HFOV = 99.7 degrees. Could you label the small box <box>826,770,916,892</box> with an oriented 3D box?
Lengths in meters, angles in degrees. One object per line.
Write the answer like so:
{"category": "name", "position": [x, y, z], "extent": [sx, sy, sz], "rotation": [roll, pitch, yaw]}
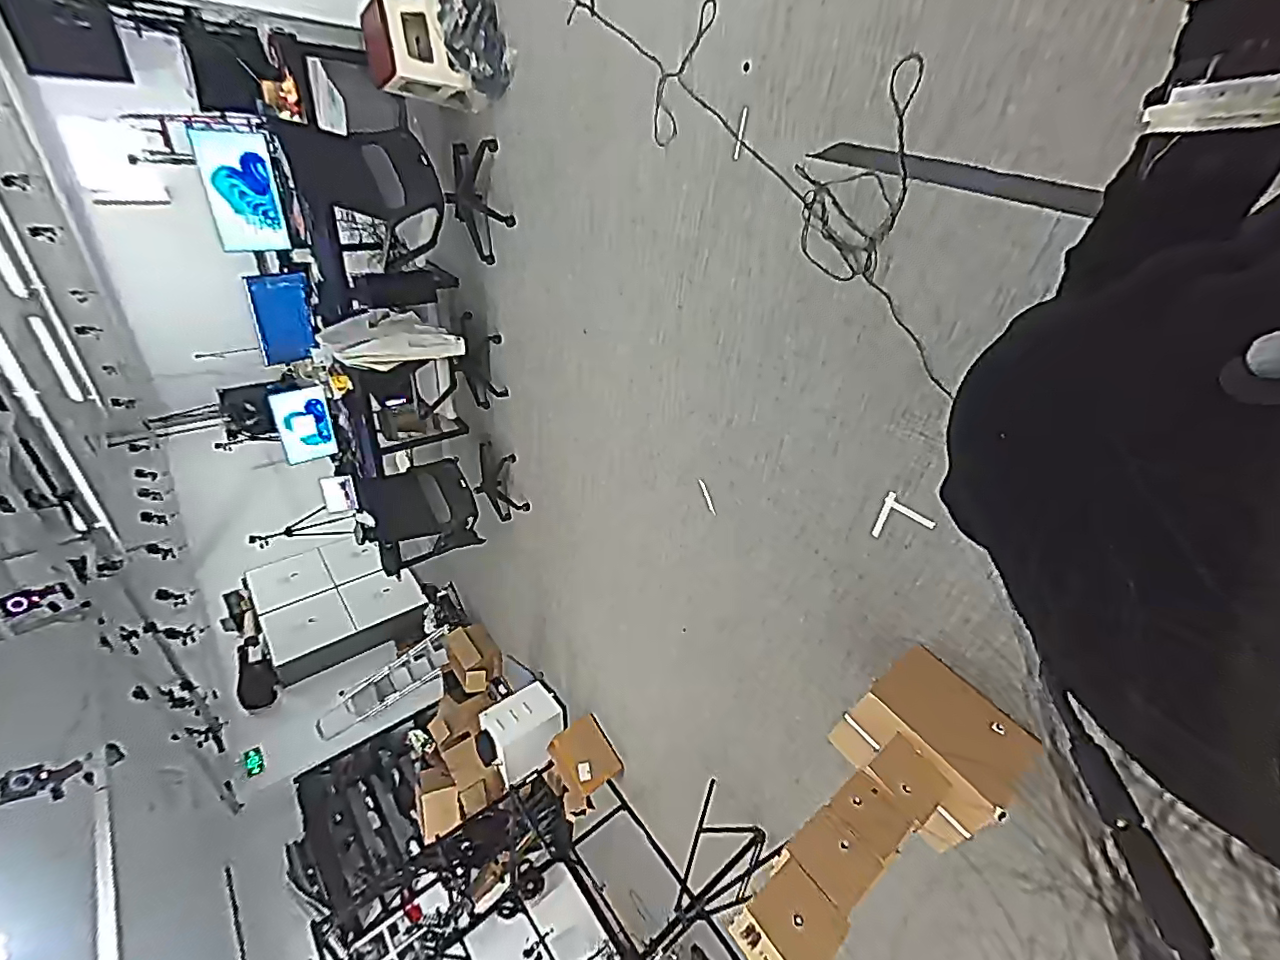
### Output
{"category": "small box", "position": [0.588, 0.905, 1.409], "extent": [0.168, 0.176, 0.179], "rotation": [33, 133, 41]}

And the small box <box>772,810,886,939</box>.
{"category": "small box", "position": [0.458, 0.947, 1.319], "extent": [0.179, 0.176, 0.168], "rotation": [39, 136, 37]}

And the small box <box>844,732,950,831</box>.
{"category": "small box", "position": [0.711, 0.841, 1.494], "extent": [0.179, 0.176, 0.168], "rotation": [46, 139, 30]}
